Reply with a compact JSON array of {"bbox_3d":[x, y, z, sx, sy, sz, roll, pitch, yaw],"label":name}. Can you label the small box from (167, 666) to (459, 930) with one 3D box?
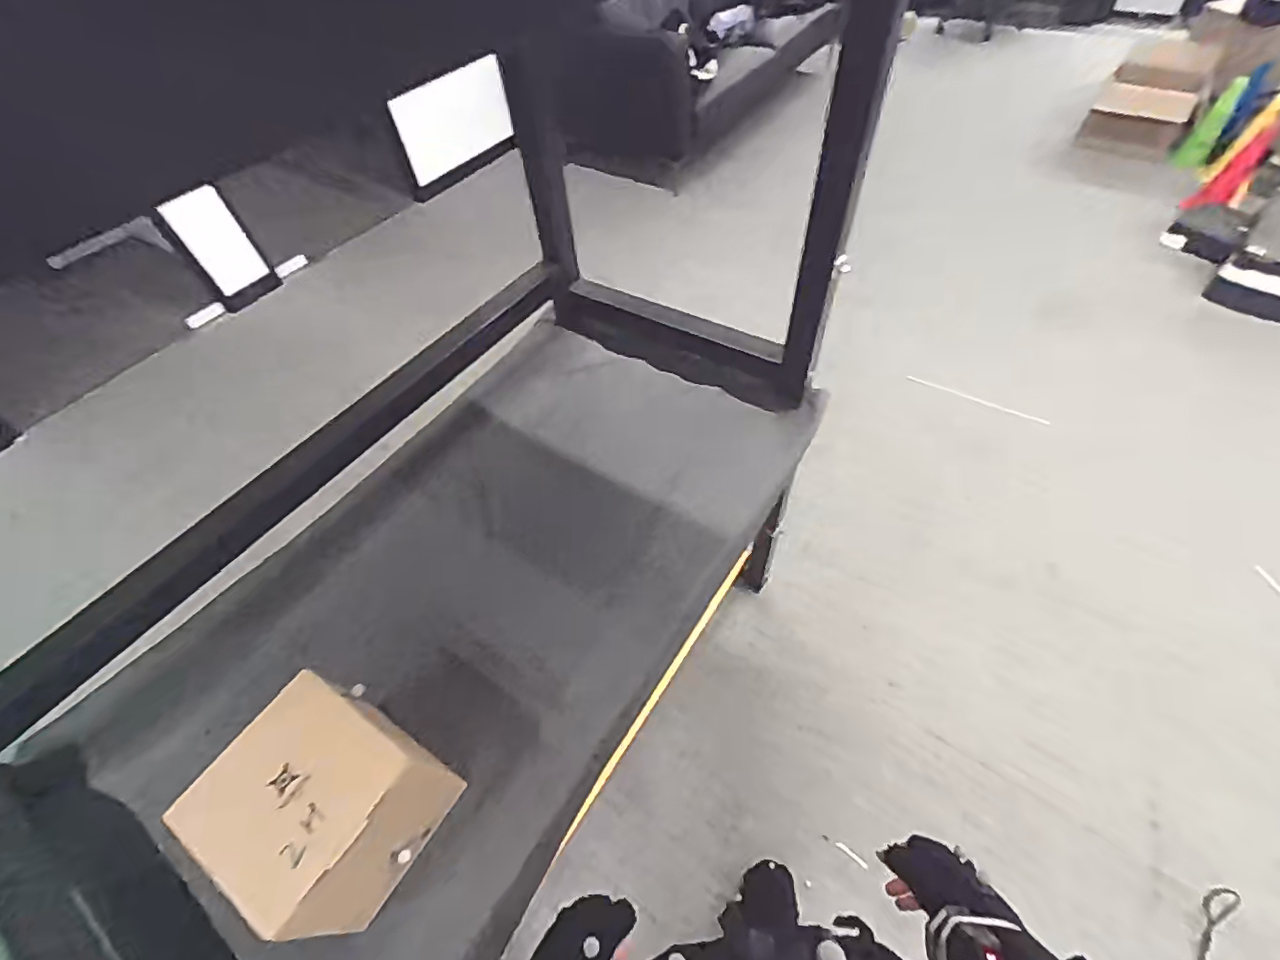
[{"bbox_3d":[-0.334,0.341,0.586,0.179,0.176,0.168,25,59,22],"label":"small box"}]
